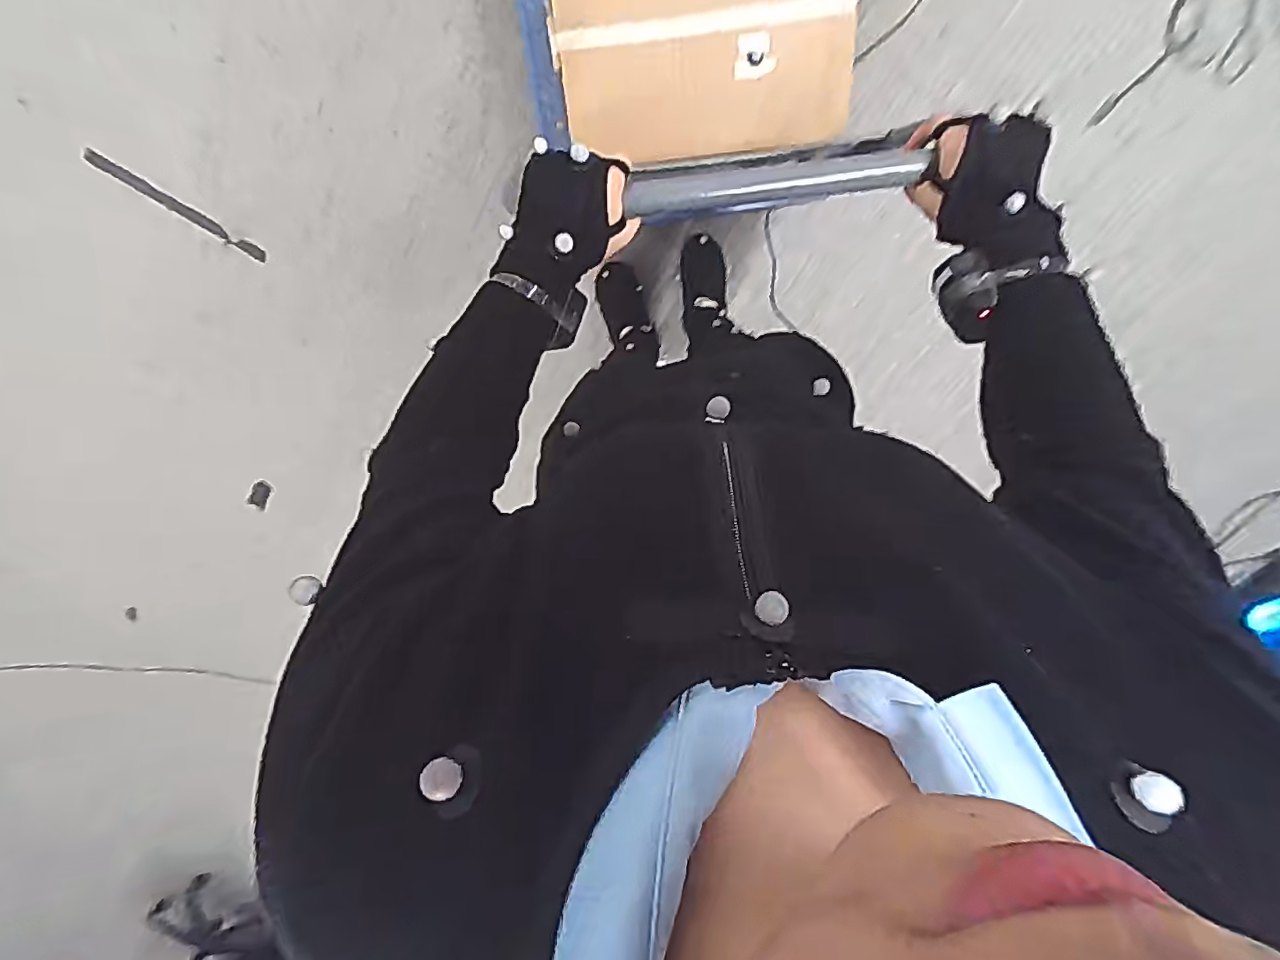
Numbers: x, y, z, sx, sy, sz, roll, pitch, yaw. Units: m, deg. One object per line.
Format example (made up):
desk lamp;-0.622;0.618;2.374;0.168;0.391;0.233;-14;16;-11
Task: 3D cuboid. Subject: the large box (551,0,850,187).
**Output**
large box;0.082;-0.673;0.869;0.408;0.320;0.320;-6;118;1
